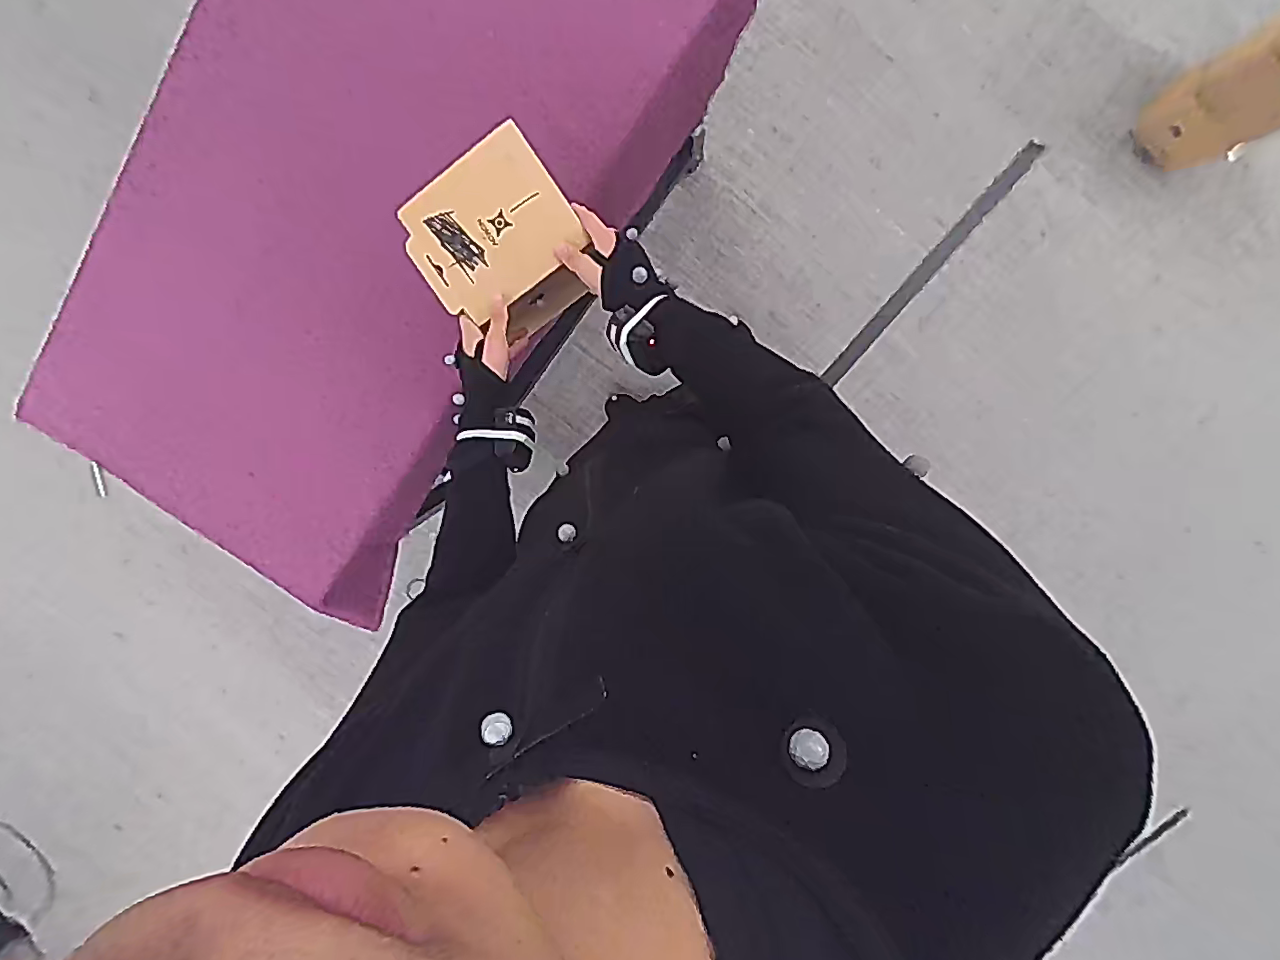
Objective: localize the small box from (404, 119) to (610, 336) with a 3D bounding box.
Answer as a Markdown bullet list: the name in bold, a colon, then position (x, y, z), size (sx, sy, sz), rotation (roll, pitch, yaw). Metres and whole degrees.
- **small box**: position (-0.158, -0.308, 0.708), size (0.179, 0.176, 0.168), rotation (-34, 95, 8)

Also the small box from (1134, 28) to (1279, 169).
- **small box**: position (1.313, -0.866, 1.252), size (0.168, 0.176, 0.179), rotation (41, 102, -6)
